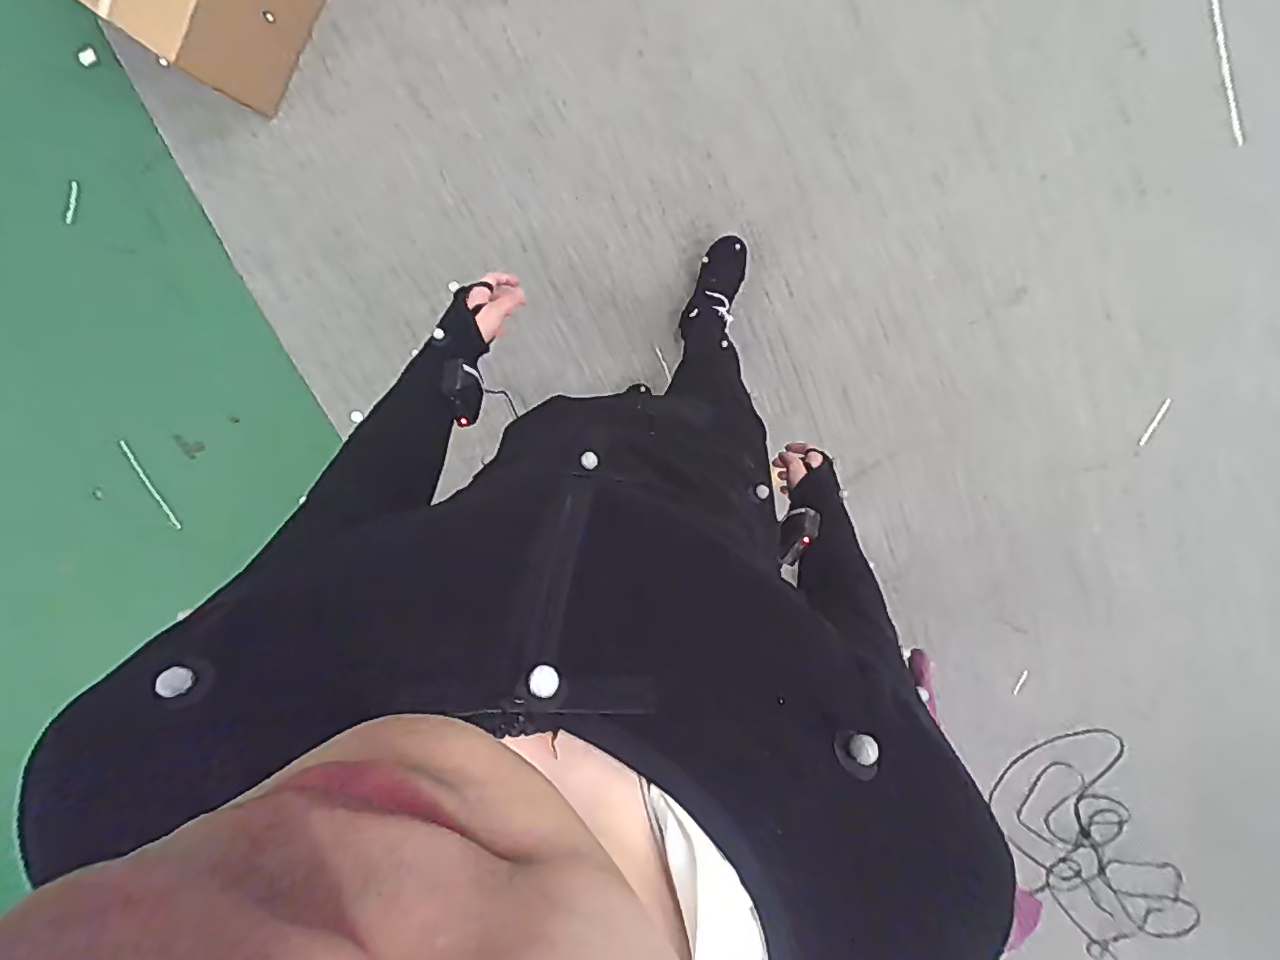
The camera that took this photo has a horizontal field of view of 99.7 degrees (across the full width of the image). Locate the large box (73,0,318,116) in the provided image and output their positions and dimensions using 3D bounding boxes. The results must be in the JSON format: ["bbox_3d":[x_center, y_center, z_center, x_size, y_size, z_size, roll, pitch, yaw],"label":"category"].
[{"bbox_3d":[-0.993,-1.148,1.210,0.320,0.320,0.408,34,105,-6],"label":"large box"}]
